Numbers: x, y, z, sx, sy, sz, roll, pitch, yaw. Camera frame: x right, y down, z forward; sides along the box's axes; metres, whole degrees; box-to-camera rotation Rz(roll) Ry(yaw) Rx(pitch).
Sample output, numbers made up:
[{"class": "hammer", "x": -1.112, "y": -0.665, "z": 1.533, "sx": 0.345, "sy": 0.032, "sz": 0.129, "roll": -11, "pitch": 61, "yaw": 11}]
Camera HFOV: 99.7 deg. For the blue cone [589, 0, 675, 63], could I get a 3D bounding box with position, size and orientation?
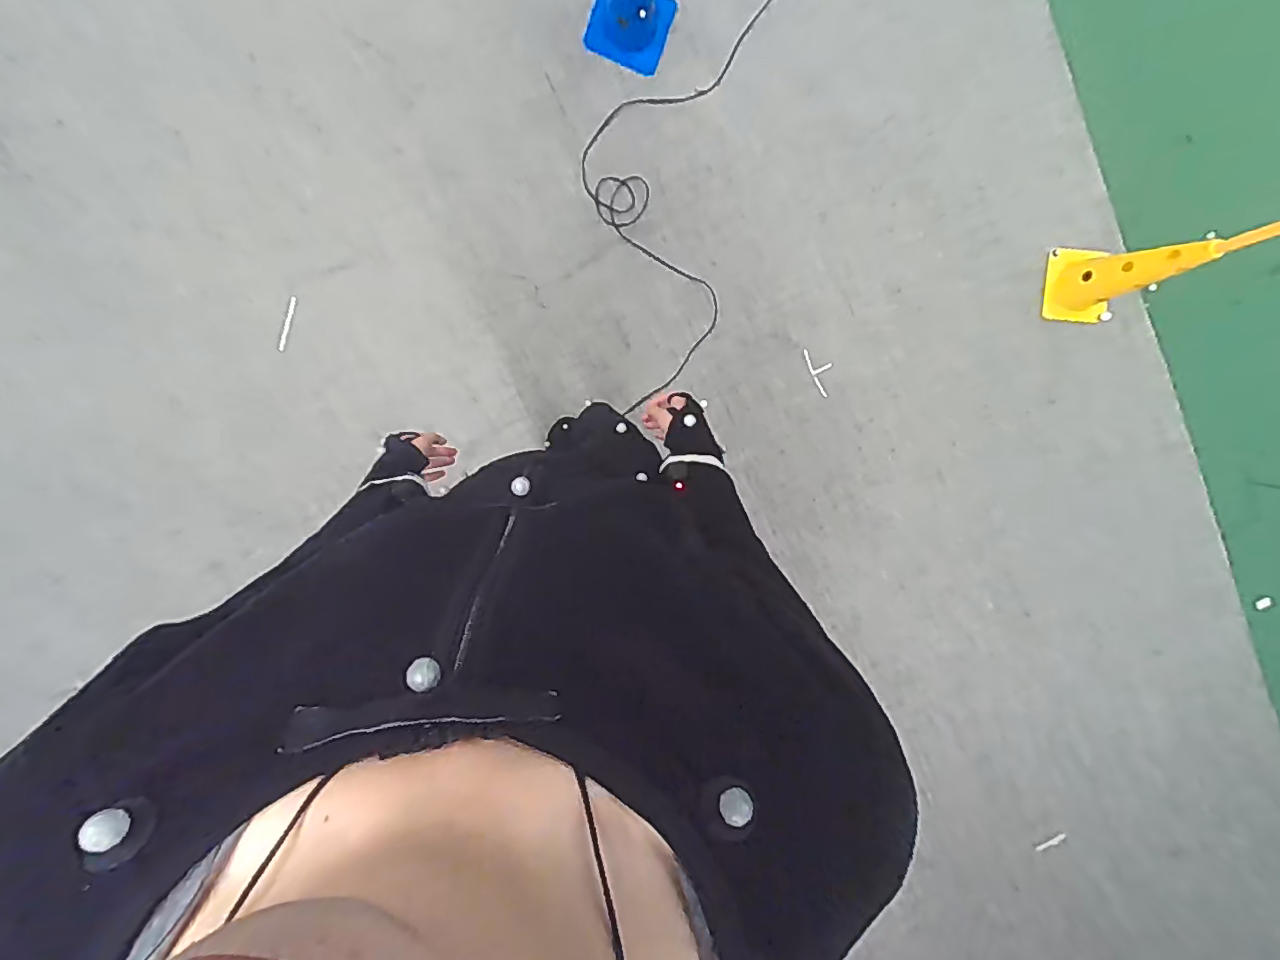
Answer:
[{"class": "blue cone", "x": -0.011, "y": -1.141, "z": 1.191, "sx": 0.193, "sy": 0.380, "sz": 0.192, "roll": 18, "pitch": 95, "yaw": -5}]
